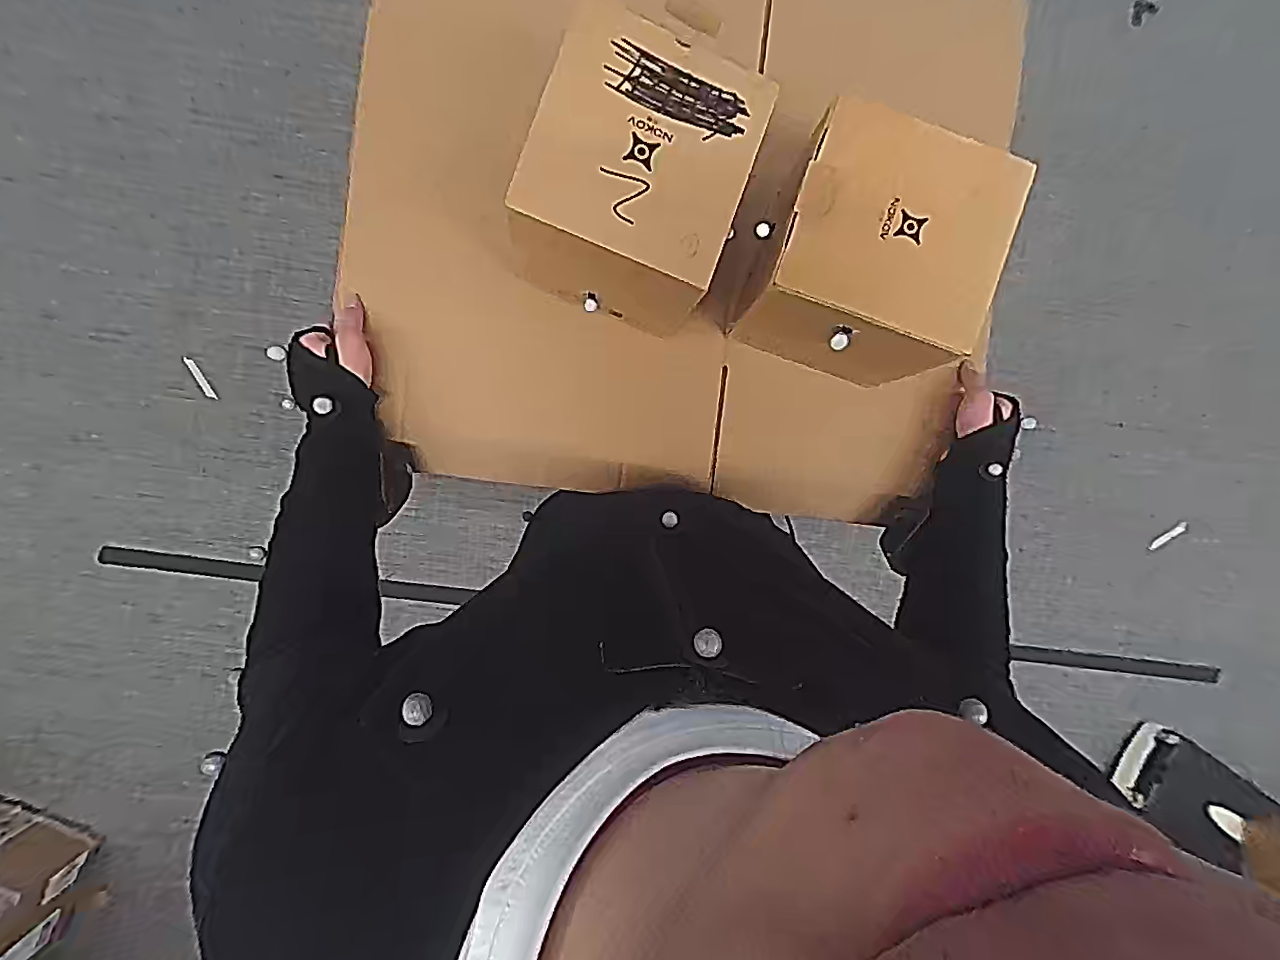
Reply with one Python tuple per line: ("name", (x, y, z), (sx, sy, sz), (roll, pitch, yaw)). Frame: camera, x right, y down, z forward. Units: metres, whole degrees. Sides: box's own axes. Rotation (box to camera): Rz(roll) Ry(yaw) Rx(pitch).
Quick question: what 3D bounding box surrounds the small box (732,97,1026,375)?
("small box", (0.210, -0.211, 0.524), (0.179, 0.176, 0.168), (19, 90, -2))
